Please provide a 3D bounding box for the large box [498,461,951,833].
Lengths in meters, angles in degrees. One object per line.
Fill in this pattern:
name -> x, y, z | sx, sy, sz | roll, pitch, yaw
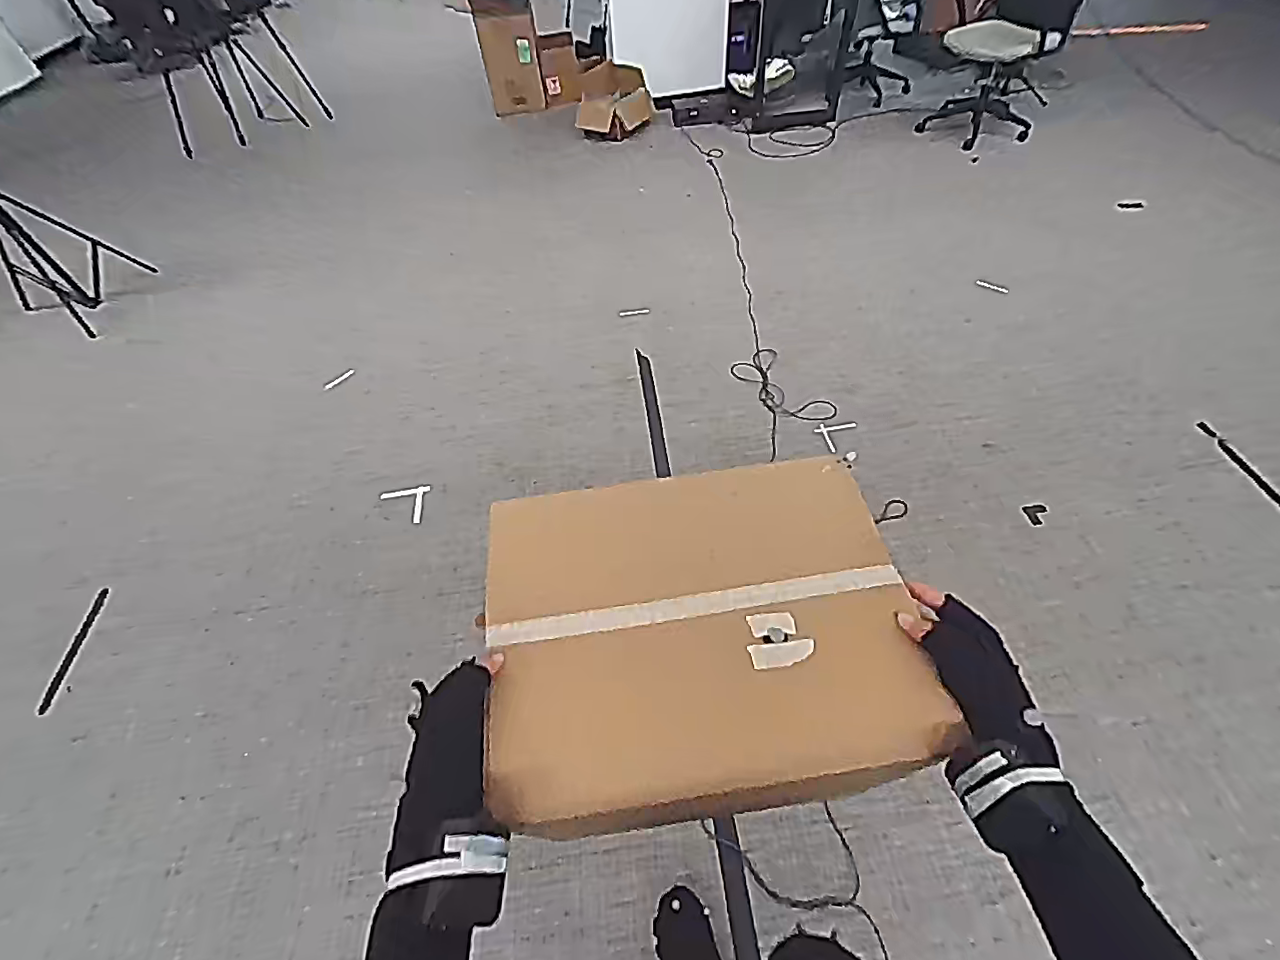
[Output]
large box -> 0.060, 0.214, 0.664 | 0.408, 0.320, 0.320 | -8, 56, -3
